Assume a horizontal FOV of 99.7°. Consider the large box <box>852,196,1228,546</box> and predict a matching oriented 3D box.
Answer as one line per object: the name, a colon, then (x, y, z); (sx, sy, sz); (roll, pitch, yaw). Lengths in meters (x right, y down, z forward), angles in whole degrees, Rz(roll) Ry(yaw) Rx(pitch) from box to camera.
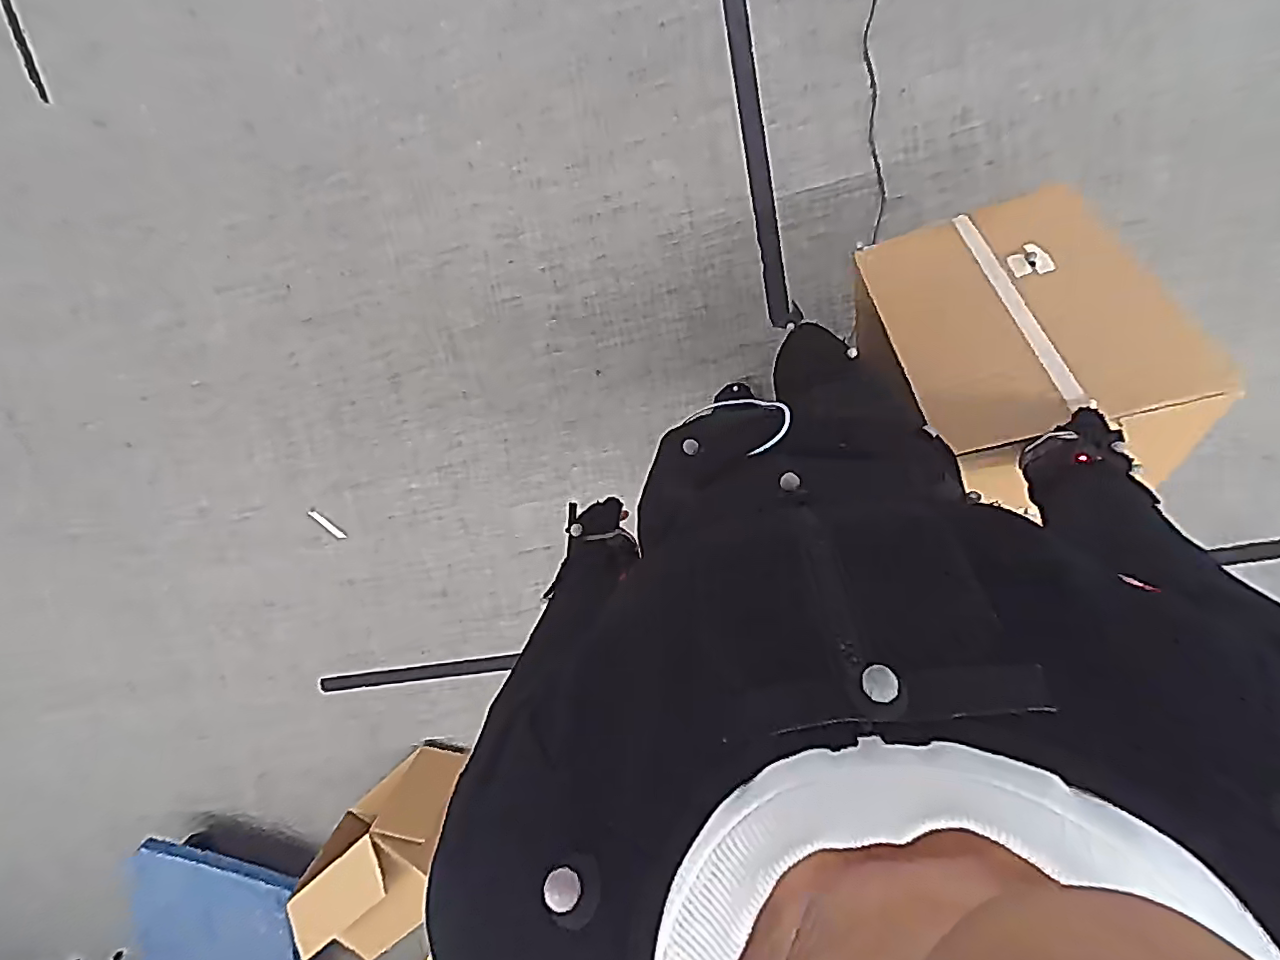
large box: (0.559, -0.158, 0.871); (0.320, 0.320, 0.408); (-13, 57, 13)
